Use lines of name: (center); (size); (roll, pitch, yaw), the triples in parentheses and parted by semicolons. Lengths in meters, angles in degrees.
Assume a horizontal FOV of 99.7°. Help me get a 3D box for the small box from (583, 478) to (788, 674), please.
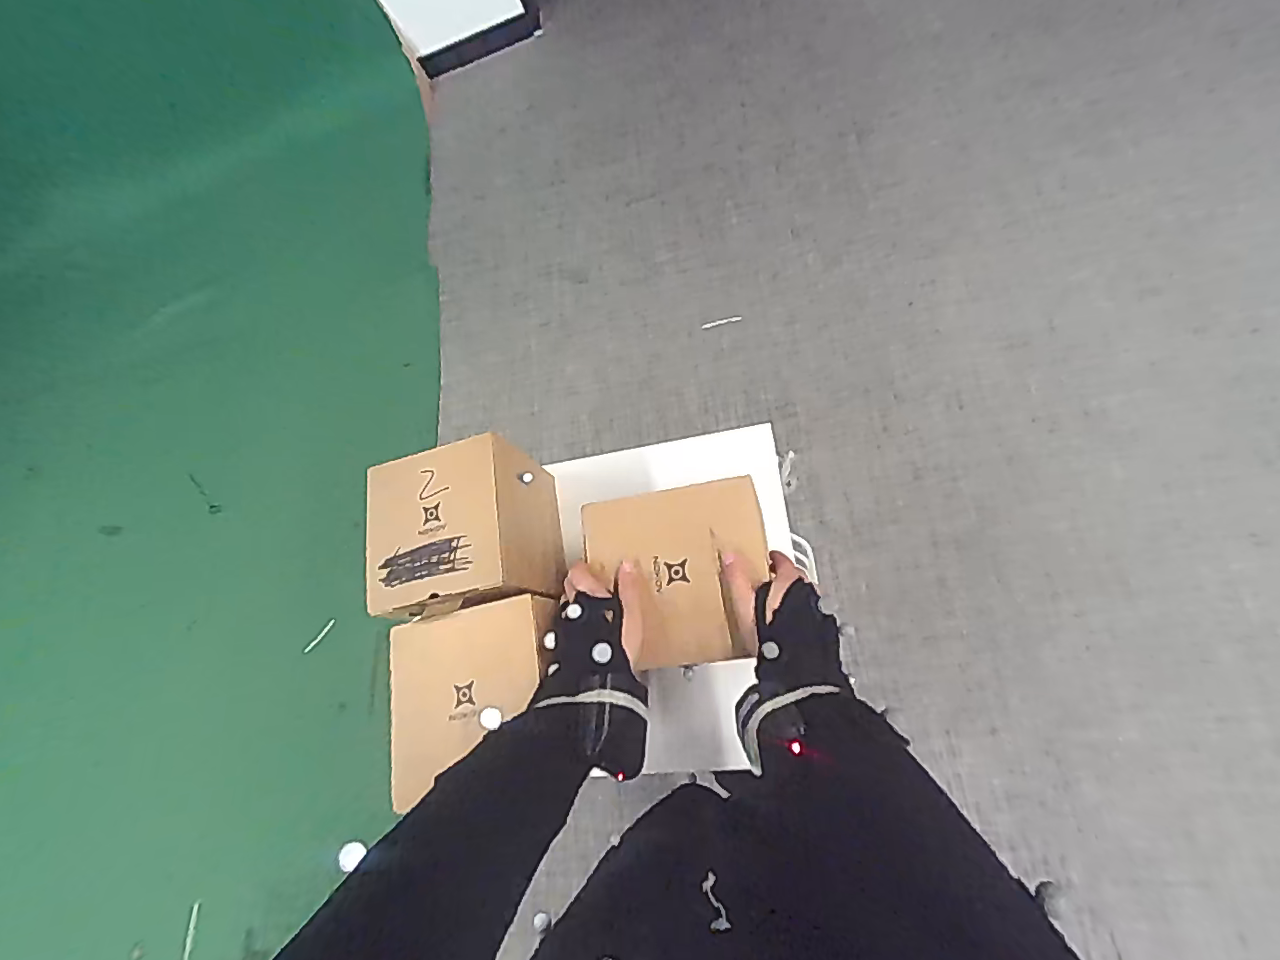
small box: (0.054, 0.112, 0.576); (0.179, 0.176, 0.168); (-11, 72, 13)
